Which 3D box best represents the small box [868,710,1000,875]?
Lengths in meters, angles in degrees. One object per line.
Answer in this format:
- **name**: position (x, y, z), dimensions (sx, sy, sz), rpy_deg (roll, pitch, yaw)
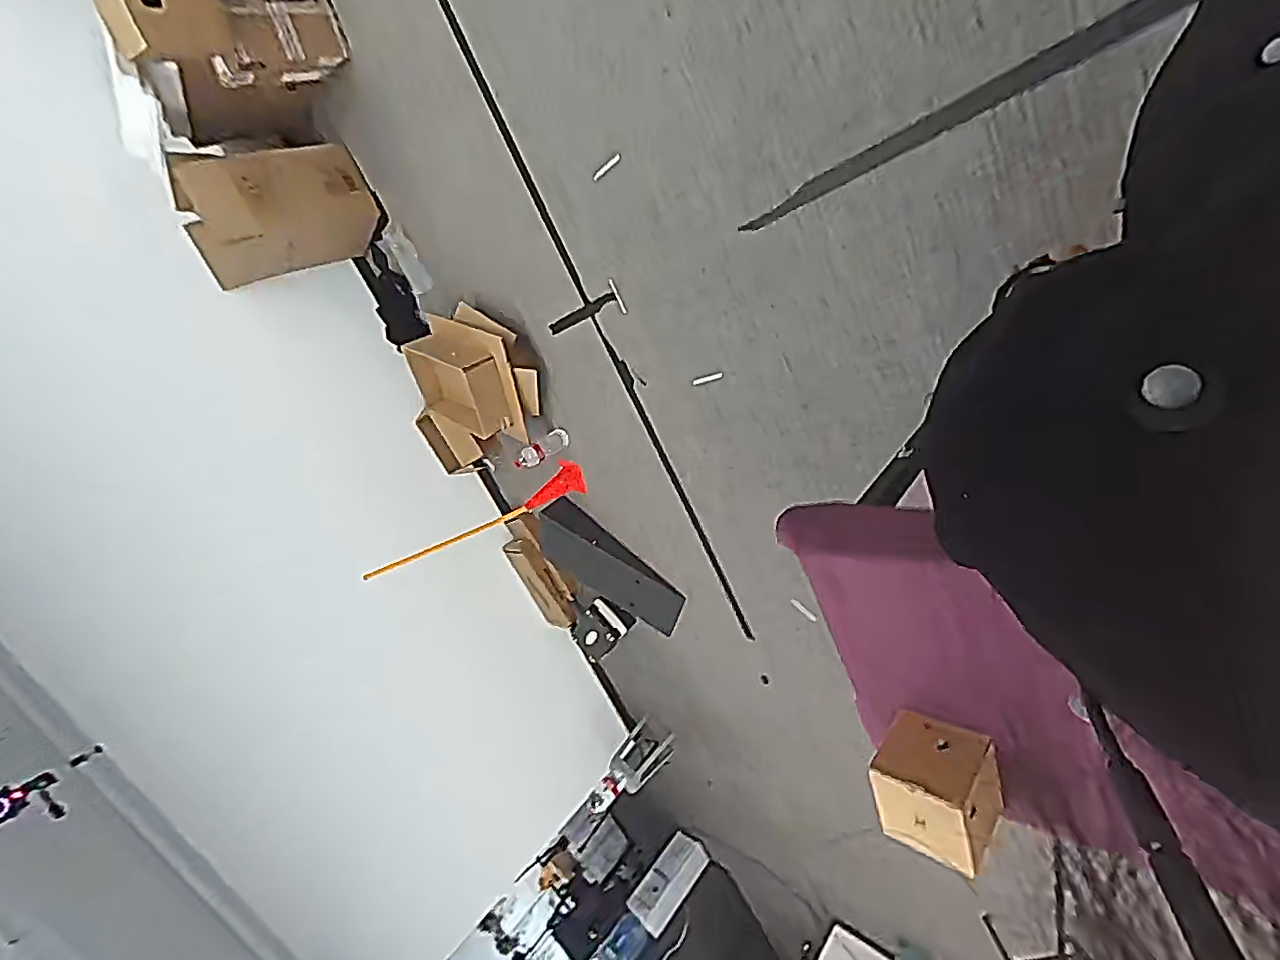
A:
- **small box**: position (0.569, 0.587, 1.038), dimensions (0.168, 0.176, 0.179), rpy_deg (1, 117, 49)
